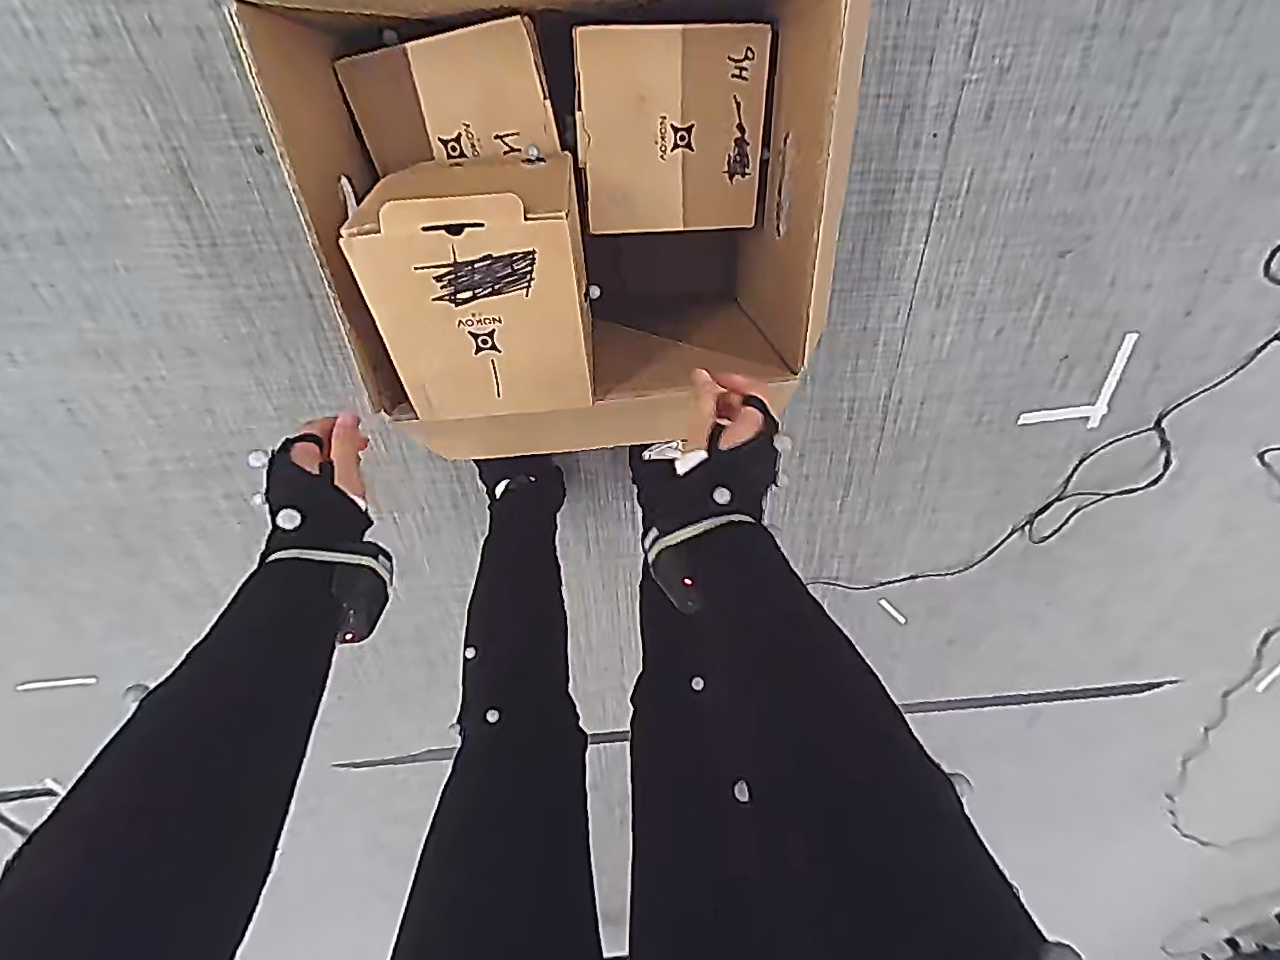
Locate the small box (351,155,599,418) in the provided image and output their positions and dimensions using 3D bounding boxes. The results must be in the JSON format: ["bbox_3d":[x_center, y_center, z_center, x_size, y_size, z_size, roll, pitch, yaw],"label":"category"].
[{"bbox_3d":[-0.129,-0.182,0.497,0.168,0.176,0.179,-5,136,-2],"label":"small box"}]
